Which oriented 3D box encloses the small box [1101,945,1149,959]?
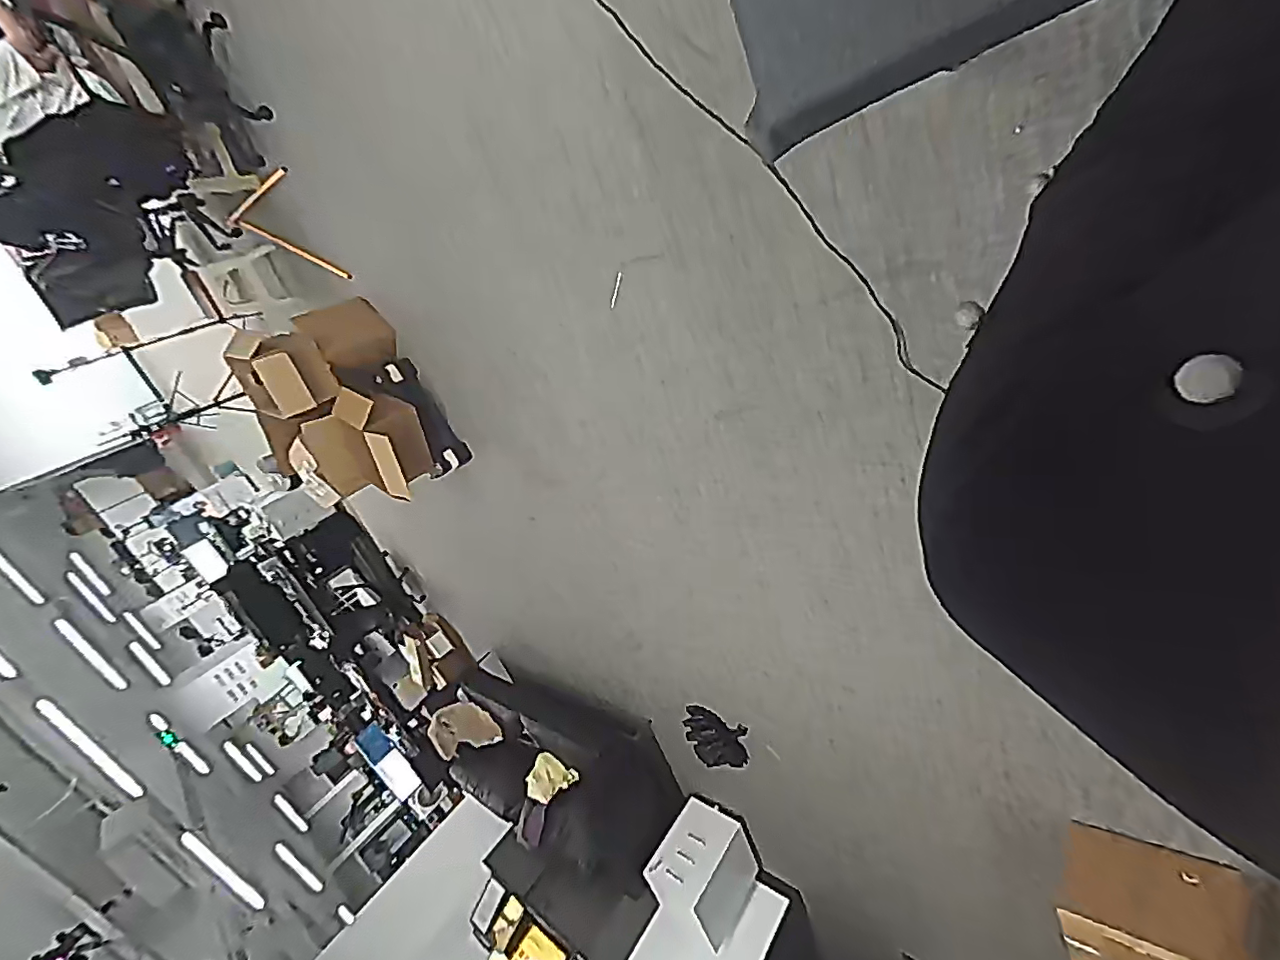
[{"bbox_3d":[1.397,1.448,1.493,0.179,0.176,0.168,-15,109,51],"label":"small box"}]
